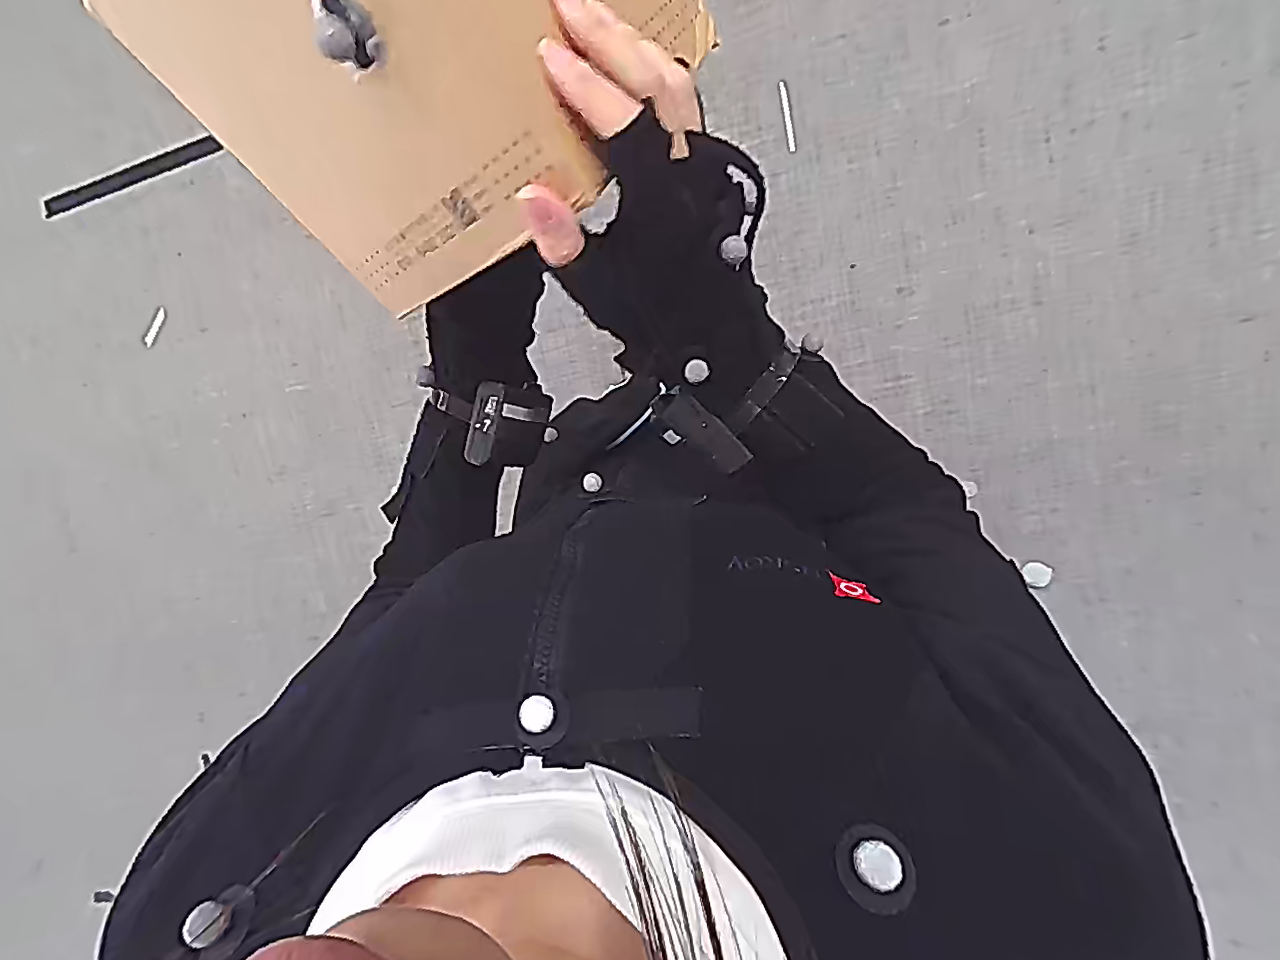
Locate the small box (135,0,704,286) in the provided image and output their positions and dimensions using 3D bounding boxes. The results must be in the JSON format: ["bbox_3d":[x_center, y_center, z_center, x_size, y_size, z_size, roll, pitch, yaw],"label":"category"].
[{"bbox_3d":[-0.091,-0.223,0.275,0.168,0.179,0.176,-4,138,42],"label":"small box"}]
